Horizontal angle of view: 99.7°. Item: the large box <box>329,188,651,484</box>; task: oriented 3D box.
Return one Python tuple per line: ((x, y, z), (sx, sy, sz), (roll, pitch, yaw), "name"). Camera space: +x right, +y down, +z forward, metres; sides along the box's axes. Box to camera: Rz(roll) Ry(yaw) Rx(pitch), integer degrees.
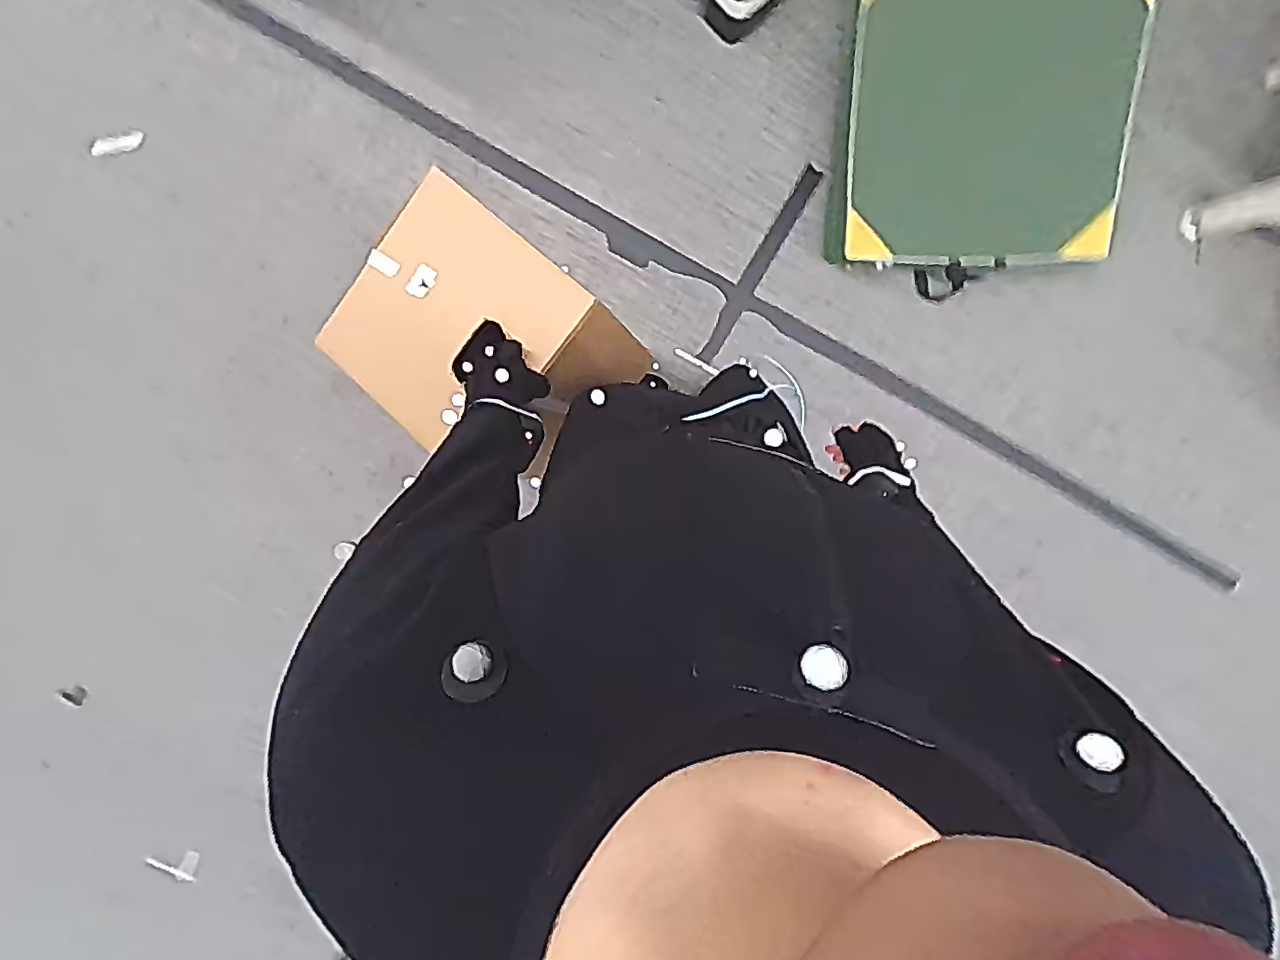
((-0.225, -0.216, 0.950), (0.320, 0.408, 0.320), (42, 100, 7), "large box")
